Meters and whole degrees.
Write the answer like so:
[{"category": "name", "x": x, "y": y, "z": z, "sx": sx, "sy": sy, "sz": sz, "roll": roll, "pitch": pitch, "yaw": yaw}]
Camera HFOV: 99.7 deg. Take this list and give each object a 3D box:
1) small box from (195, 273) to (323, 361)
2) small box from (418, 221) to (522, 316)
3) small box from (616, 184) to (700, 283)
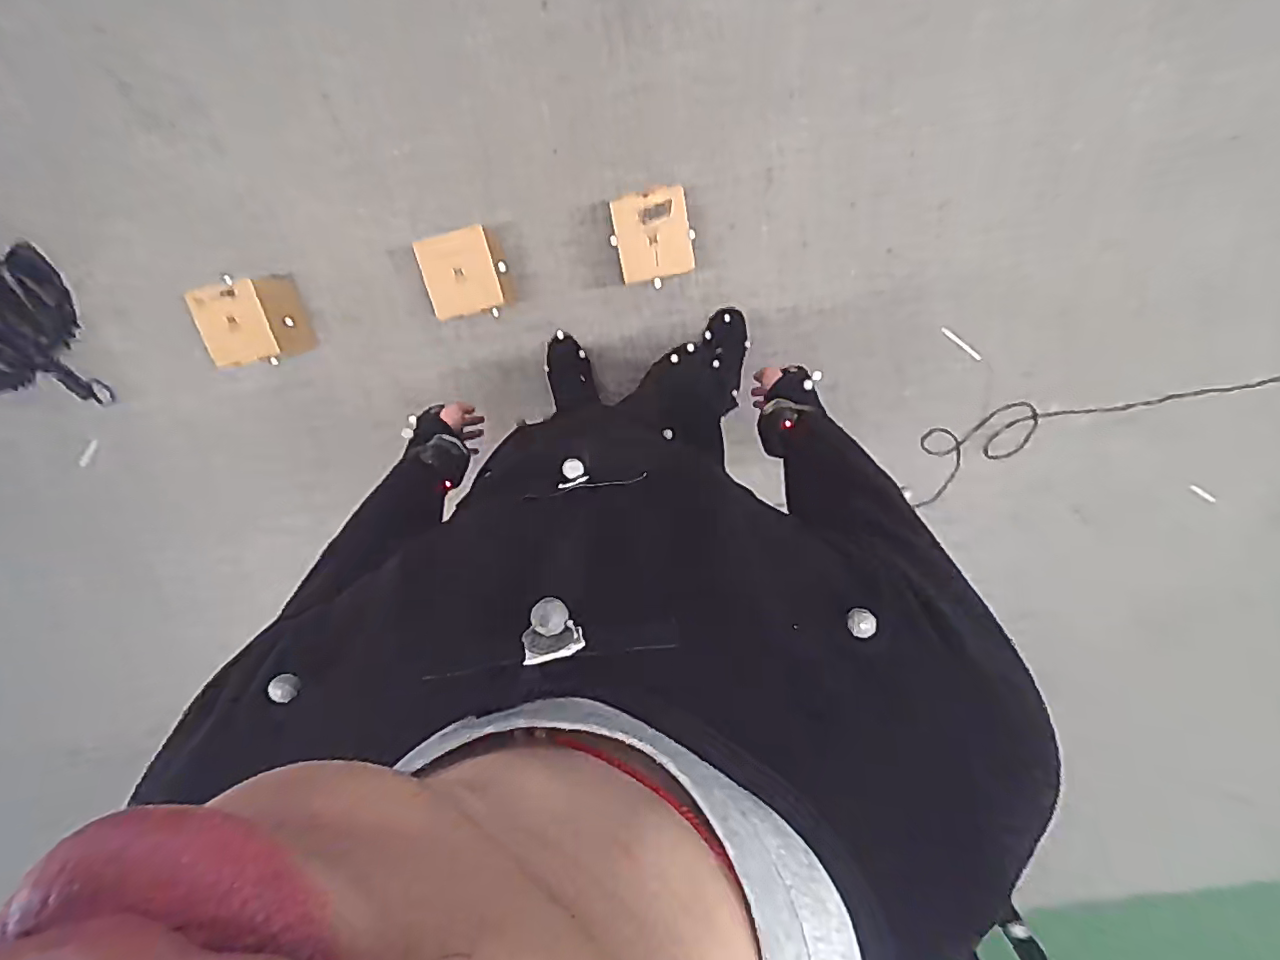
[{"category": "small box", "x": -0.931, "y": -0.408, "z": 1.343, "sx": 0.168, "sy": 0.176, "sz": 0.179, "roll": -11, "pitch": 109, "yaw": 4}, {"category": "small box", "x": -0.399, "y": -0.503, "z": 1.303, "sx": 0.168, "sy": 0.176, "sz": 0.179, "roll": -13, "pitch": 107, "yaw": 4}, {"category": "small box", "x": 0.041, "y": -0.568, "z": 1.268, "sx": 0.168, "sy": 0.176, "sz": 0.179, "roll": -10, "pitch": 108, "yaw": 6}]
